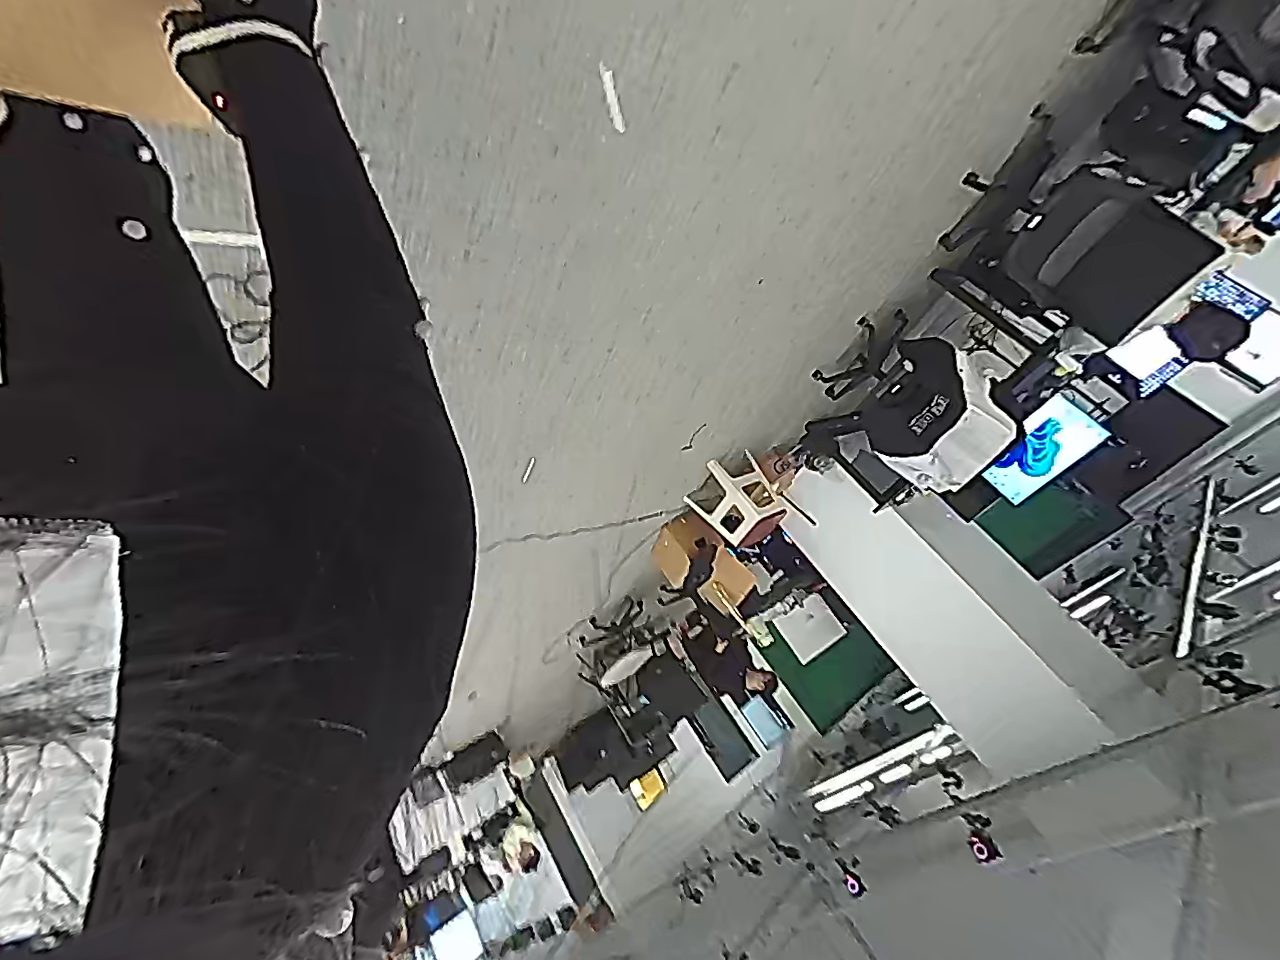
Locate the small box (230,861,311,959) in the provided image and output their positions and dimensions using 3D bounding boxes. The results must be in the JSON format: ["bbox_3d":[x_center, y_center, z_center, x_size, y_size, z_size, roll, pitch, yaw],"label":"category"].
[{"bbox_3d":[-1.158,1.344,1.698,0.179,0.176,0.168,-13,145,-41],"label":"small box"}]
